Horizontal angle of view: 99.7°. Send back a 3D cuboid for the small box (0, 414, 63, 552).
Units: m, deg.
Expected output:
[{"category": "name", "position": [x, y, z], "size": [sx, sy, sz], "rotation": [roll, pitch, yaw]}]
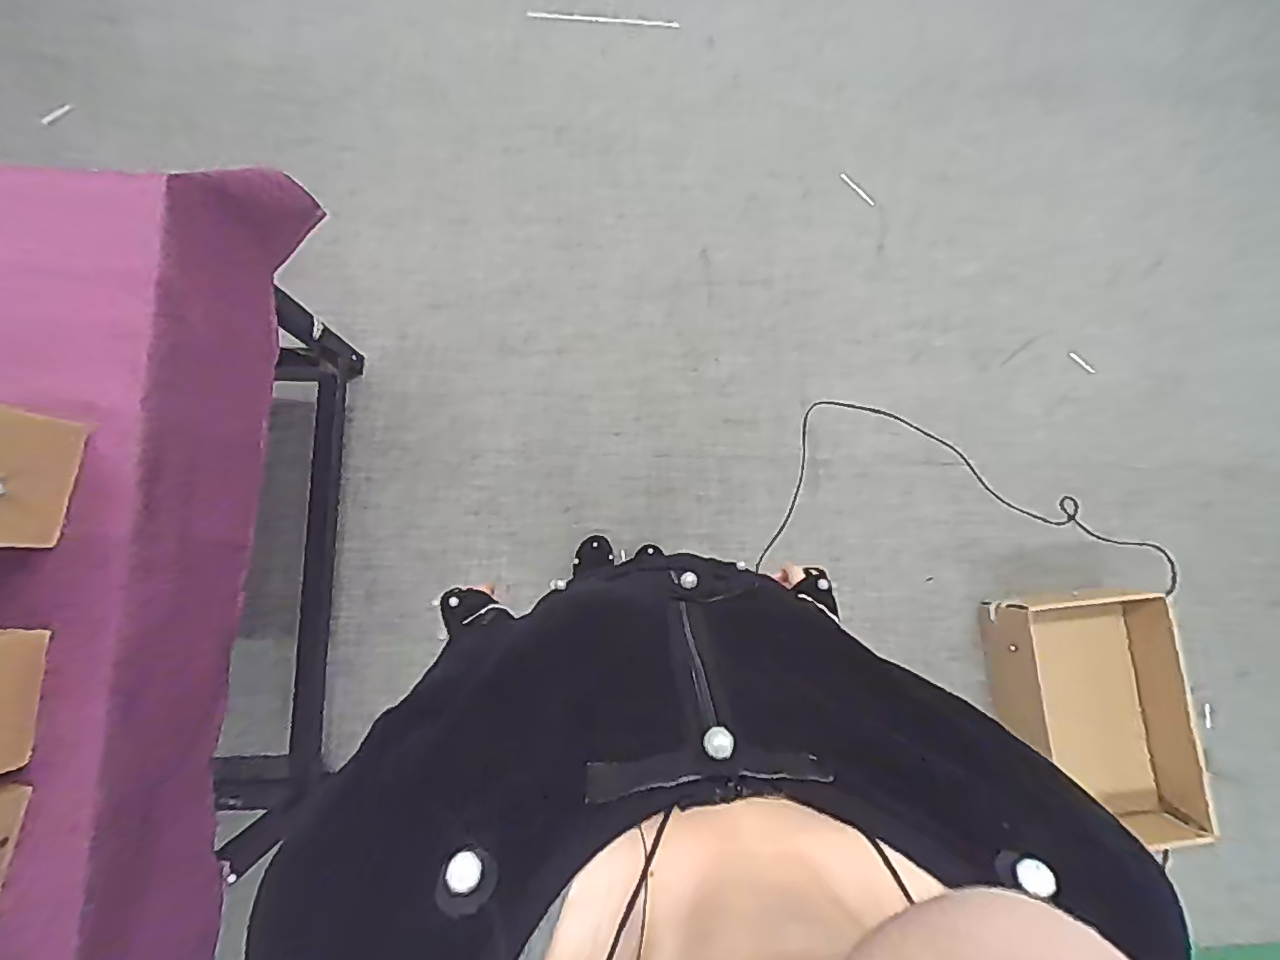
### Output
[{"category": "small box", "position": [-0.874, -0.008, 0.653], "size": [0.168, 0.176, 0.179], "rotation": [8, 82, -4]}]
